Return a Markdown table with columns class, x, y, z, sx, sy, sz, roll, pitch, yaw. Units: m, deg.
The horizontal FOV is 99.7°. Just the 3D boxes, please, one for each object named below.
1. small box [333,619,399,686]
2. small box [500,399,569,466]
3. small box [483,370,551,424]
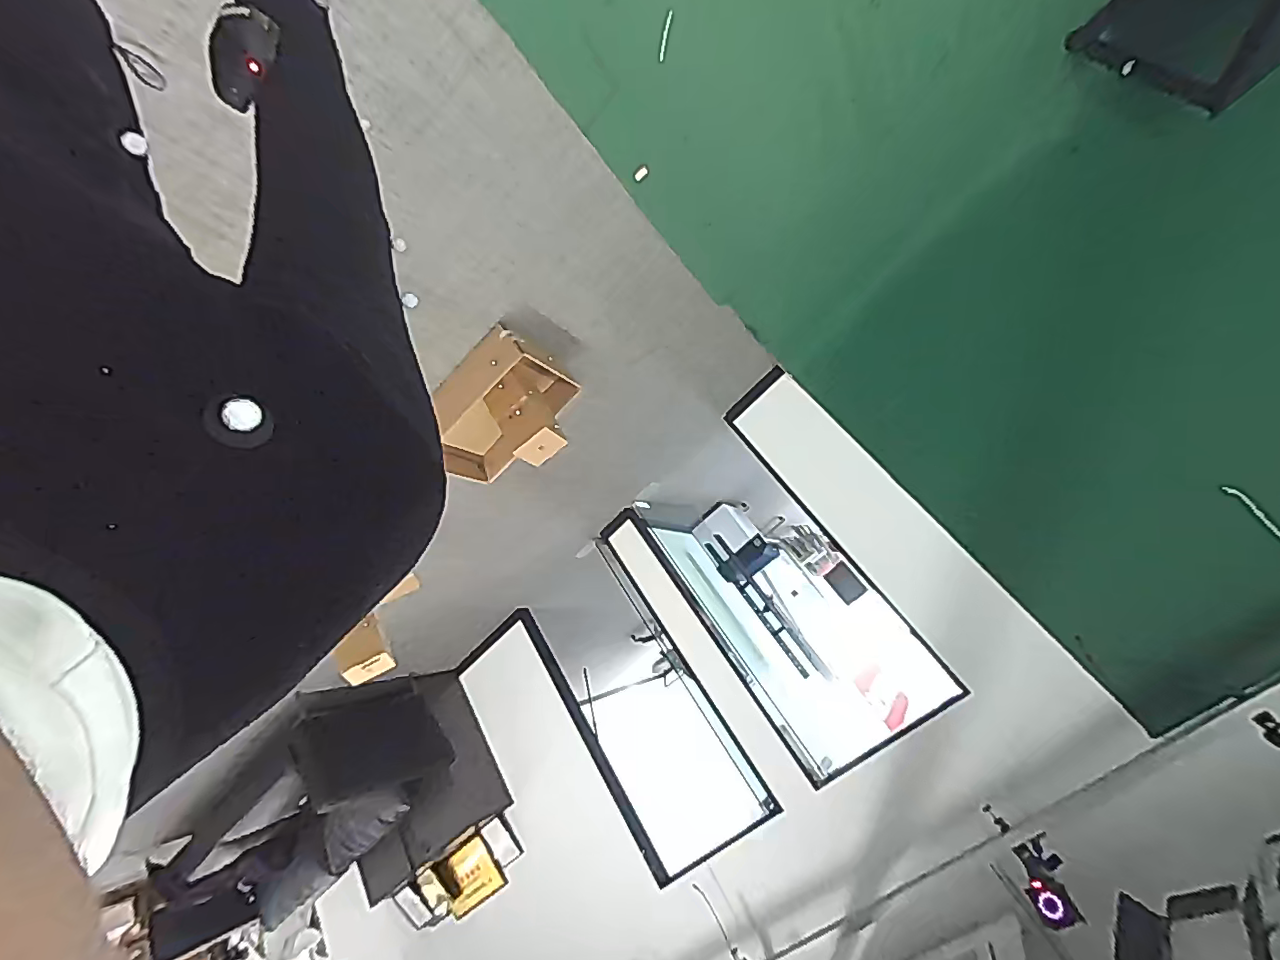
| class | x | y | z | sx | sy | sz | roll | pitch | yaw |
| --- | --- | --- | --- | --- | --- | --- | --- | --- | --- |
| small box | -1.072 | 0.670 | 2.115 | 0.168 | 0.176 | 0.179 | -24 | 152 | -24 |
| small box | -0.408 | -0.185 | 2.092 | 0.168 | 0.176 | 0.179 | -37 | 154 | 8 |
| small box | -0.490 | -0.311 | 2.157 | 0.168 | 0.176 | 0.179 | -38 | 154 | 12 |
